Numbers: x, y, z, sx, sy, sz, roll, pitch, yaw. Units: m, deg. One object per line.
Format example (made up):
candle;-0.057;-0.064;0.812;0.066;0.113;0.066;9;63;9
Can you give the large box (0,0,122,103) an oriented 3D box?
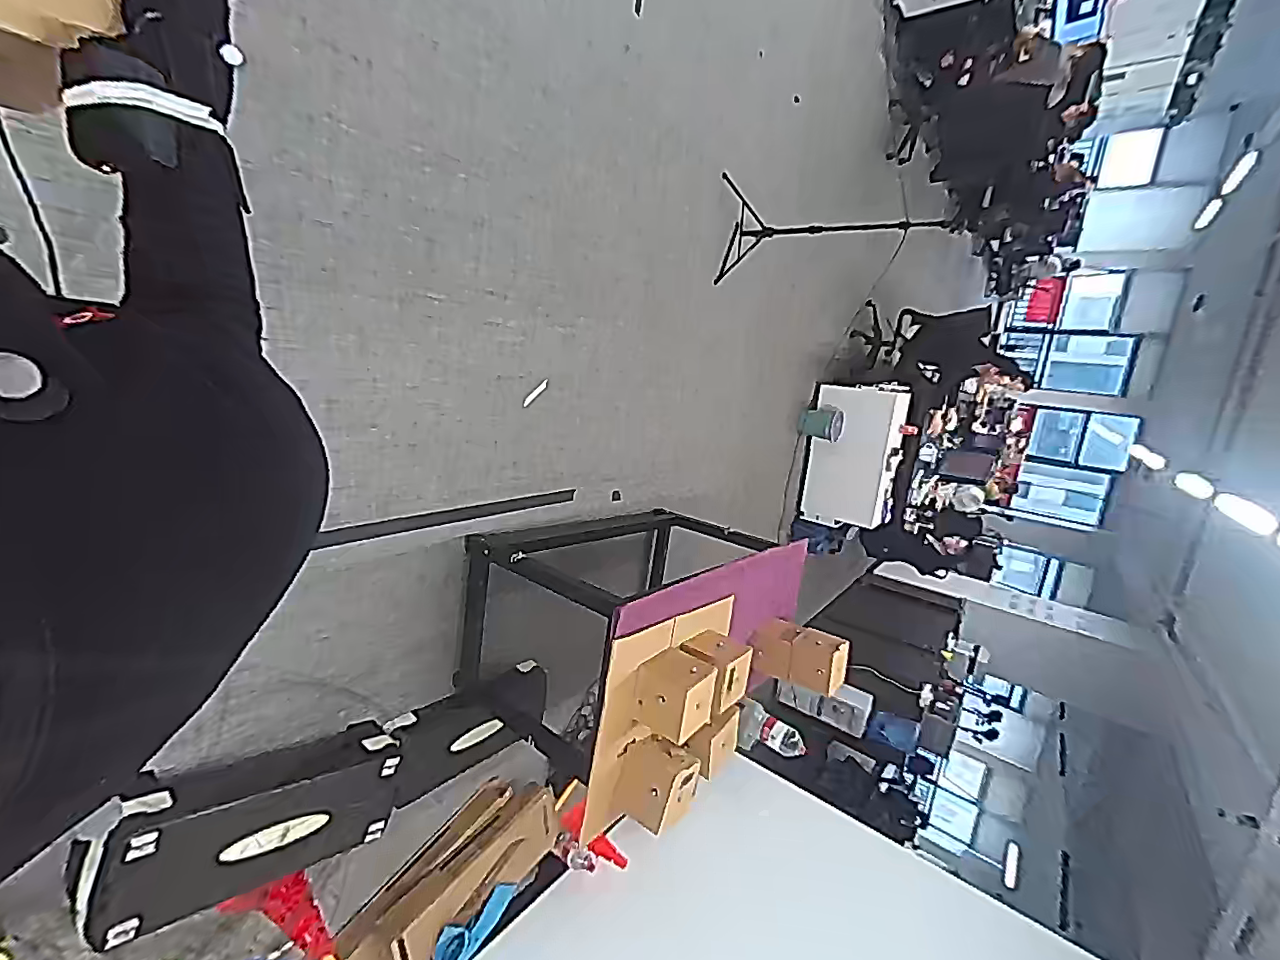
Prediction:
large box;-0.573;-0.446;0.256;0.408;0.320;0.320;-12;117;-55
